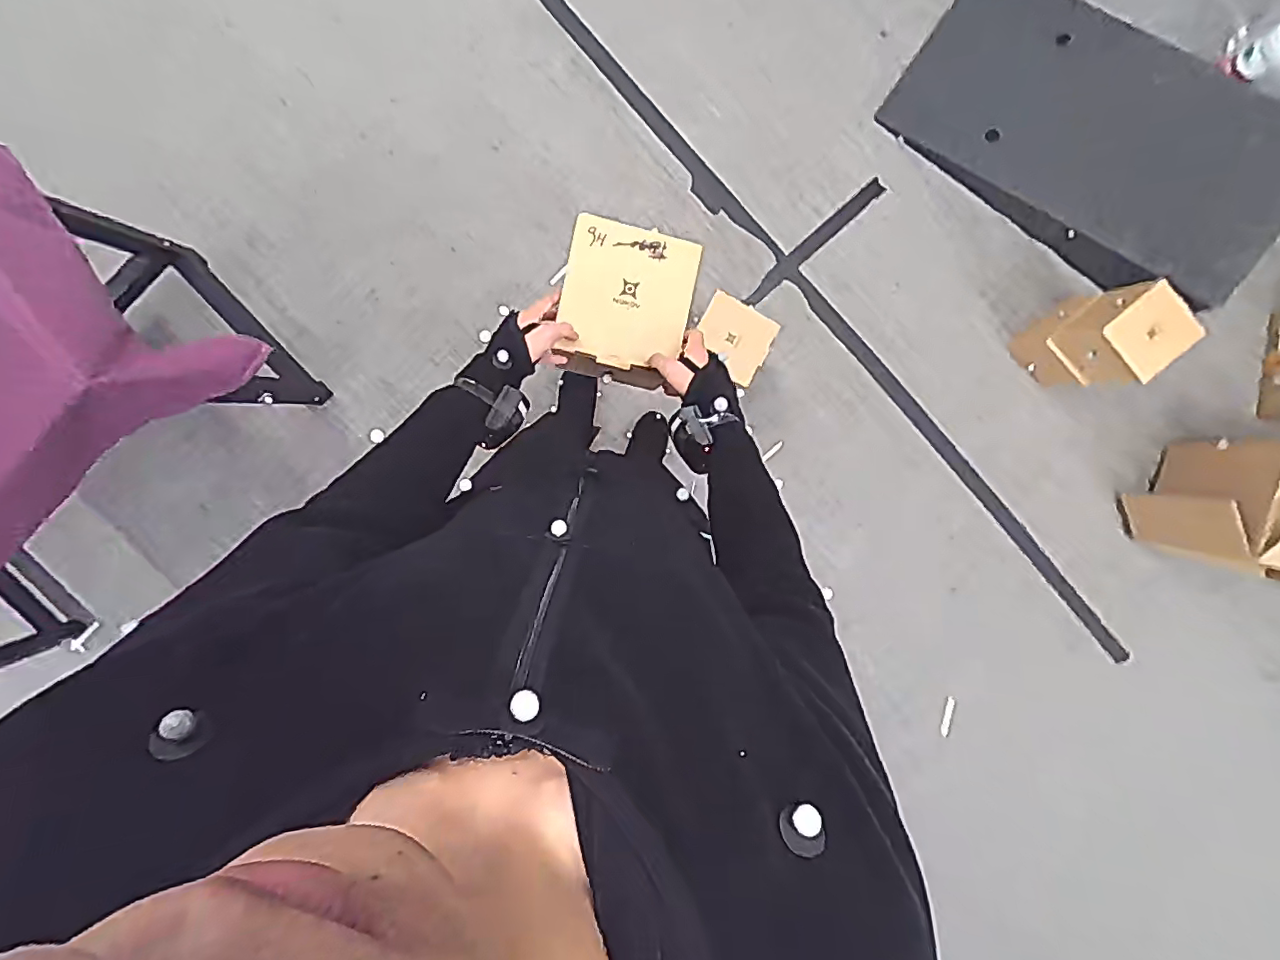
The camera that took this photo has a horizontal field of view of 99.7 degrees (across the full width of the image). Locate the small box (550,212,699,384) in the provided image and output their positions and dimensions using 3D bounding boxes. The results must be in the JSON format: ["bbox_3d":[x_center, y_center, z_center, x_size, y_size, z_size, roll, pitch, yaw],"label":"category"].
[{"bbox_3d":[-0.027,-0.243,0.773,0.168,0.176,0.179,11,92,-7],"label":"small box"}]
